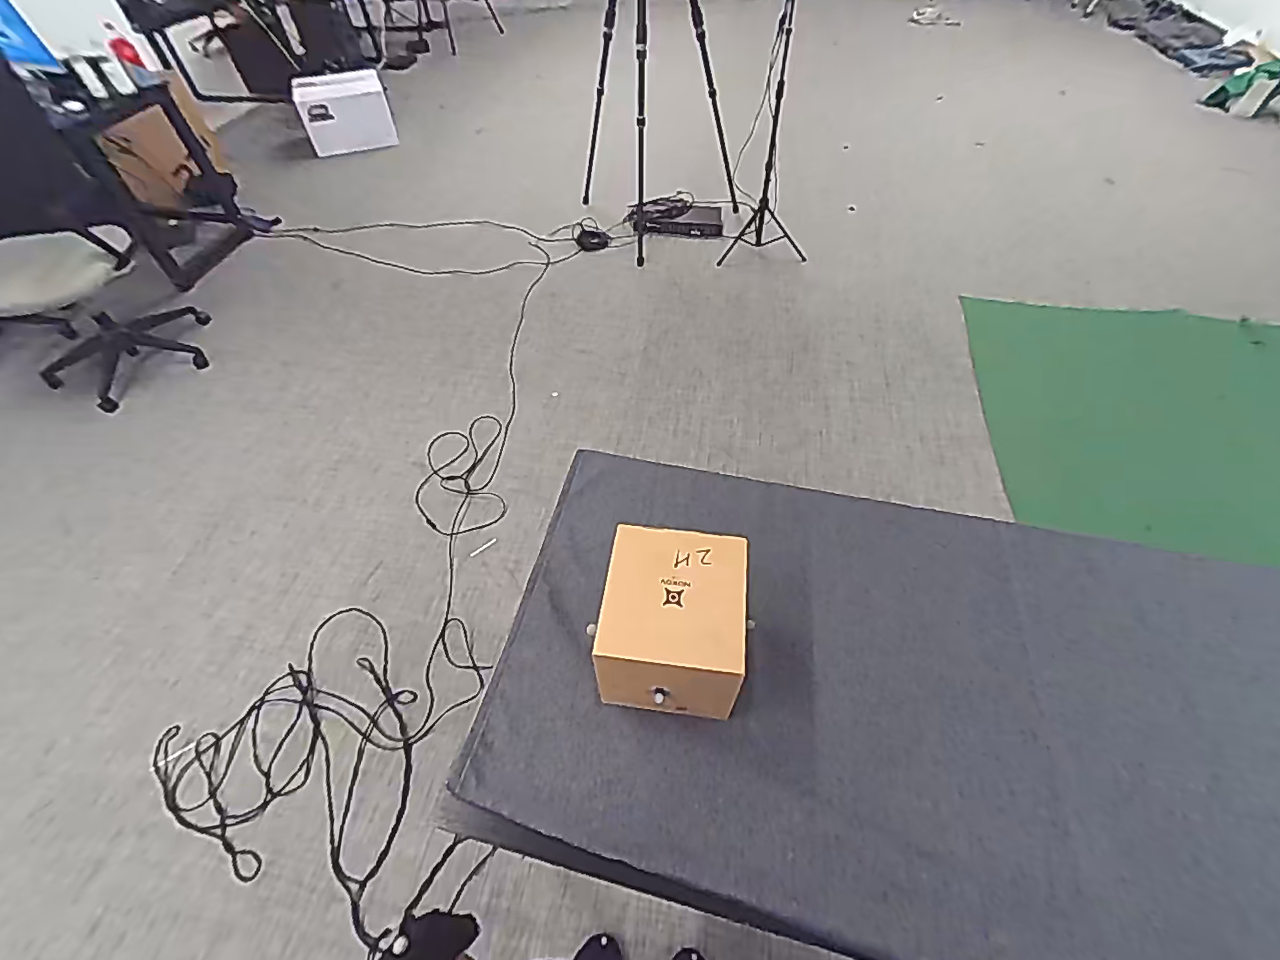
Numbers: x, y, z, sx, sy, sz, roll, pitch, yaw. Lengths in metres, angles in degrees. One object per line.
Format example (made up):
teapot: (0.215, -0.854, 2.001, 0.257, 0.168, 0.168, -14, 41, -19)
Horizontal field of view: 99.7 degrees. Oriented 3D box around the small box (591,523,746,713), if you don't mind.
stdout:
small box: (0.041, 0.180, 0.691, 0.168, 0.176, 0.179, 6, 51, 5)
